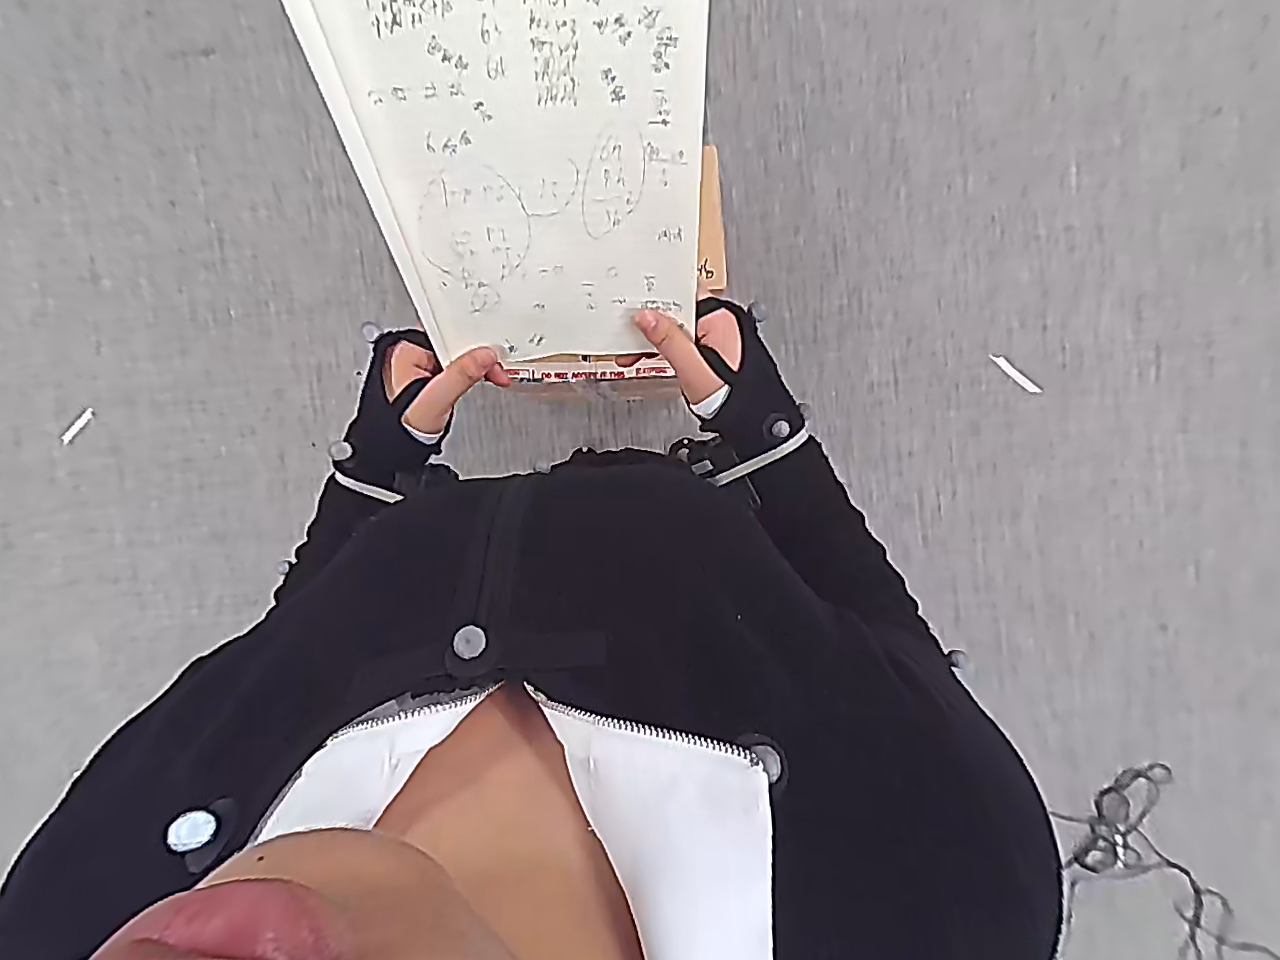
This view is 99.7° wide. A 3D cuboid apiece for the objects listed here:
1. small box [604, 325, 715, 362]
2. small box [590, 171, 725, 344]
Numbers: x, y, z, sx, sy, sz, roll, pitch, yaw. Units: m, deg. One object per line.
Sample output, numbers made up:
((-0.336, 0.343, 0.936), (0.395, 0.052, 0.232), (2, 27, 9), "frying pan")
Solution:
((0.023, -0.304, 0.926), (0.179, 0.176, 0.168), (-7, 94, 1), "small box")
((0.020, -0.301, 0.762), (0.168, 0.176, 0.179), (-5, 94, 0), "small box")
